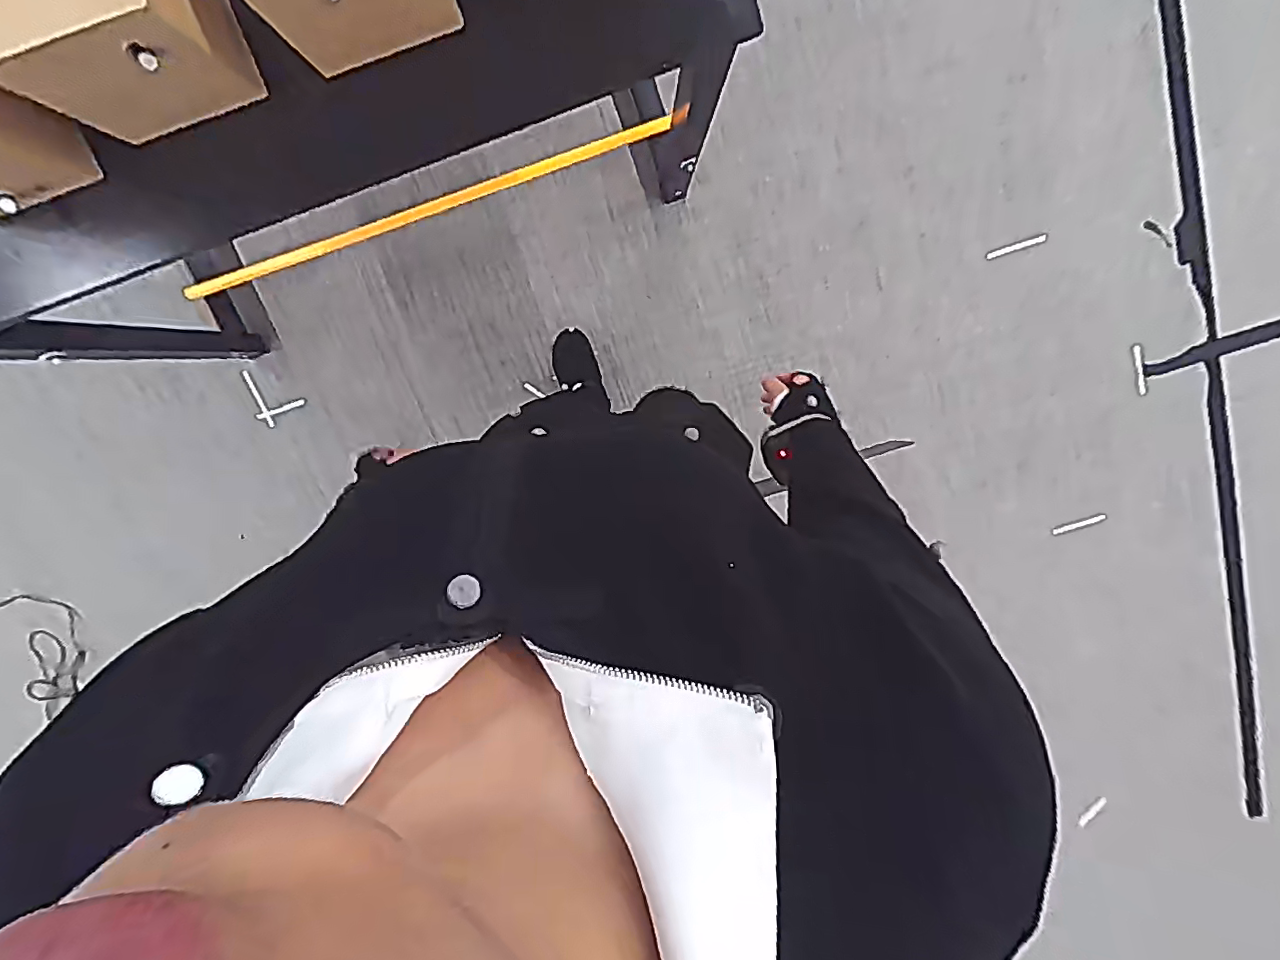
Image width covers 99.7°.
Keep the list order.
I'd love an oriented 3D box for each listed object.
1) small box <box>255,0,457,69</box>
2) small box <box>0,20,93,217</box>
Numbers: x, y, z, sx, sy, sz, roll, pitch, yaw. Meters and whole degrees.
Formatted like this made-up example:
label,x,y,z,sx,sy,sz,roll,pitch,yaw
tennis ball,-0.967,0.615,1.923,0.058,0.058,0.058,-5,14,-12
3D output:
label,x,y,z,sx,sy,sz,roll,pitch,yaw
small box,-0.307,-0.547,0.523,0.179,0.176,0.168,-18,102,2
small box,-0.740,-0.392,0.546,0.168,0.176,0.179,-19,103,4
